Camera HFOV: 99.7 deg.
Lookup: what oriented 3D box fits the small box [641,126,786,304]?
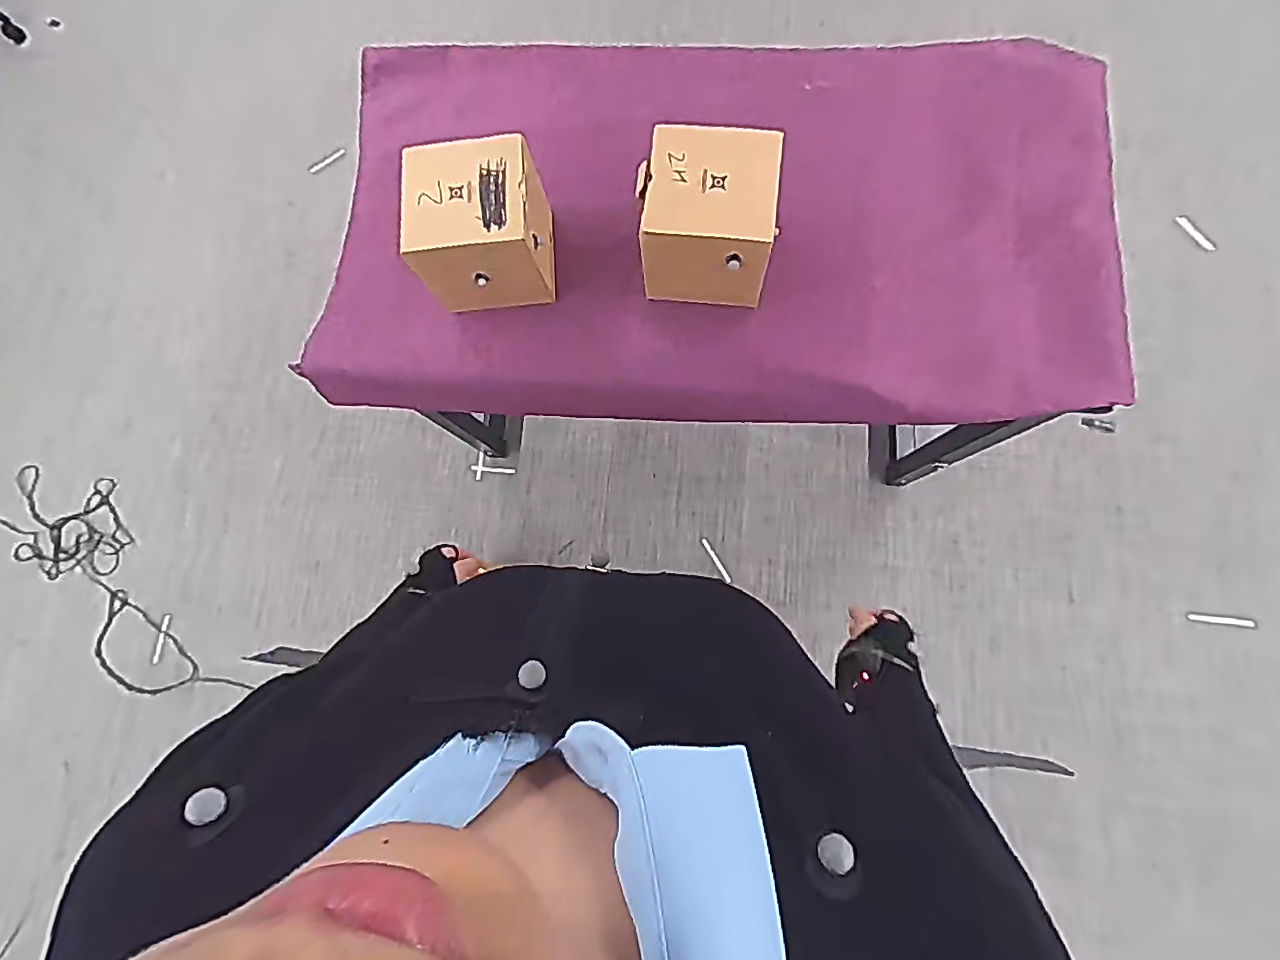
[{"bbox_3d":[0.103,-0.374,0.788,0.179,0.176,0.168,6,79,6],"label":"small box"}]
